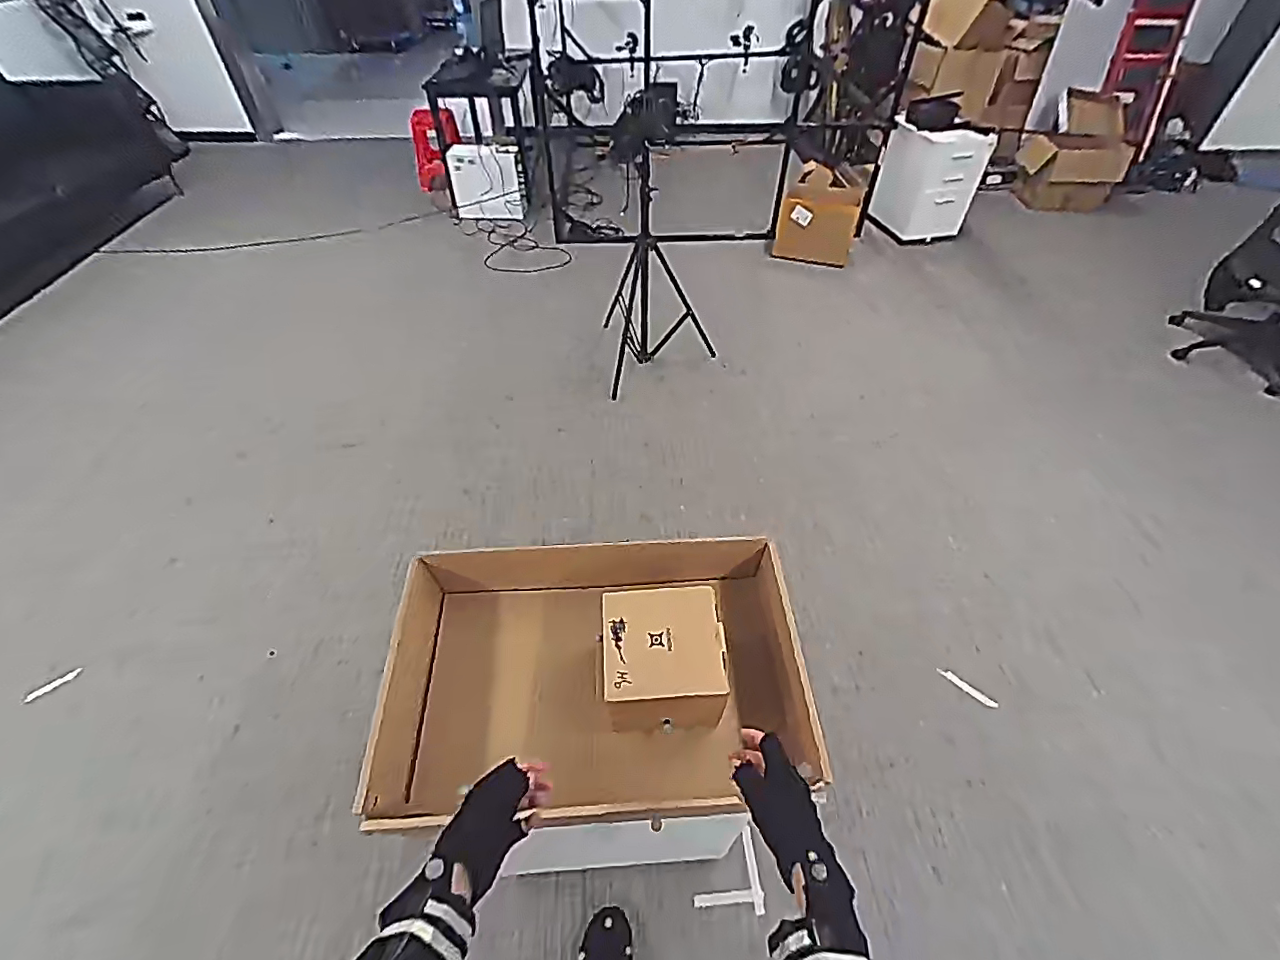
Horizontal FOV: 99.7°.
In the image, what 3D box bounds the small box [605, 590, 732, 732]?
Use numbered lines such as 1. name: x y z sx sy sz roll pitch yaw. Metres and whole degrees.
1. small box: 0.036 0.288 0.853 0.179 0.176 0.168 -3 52 -1
